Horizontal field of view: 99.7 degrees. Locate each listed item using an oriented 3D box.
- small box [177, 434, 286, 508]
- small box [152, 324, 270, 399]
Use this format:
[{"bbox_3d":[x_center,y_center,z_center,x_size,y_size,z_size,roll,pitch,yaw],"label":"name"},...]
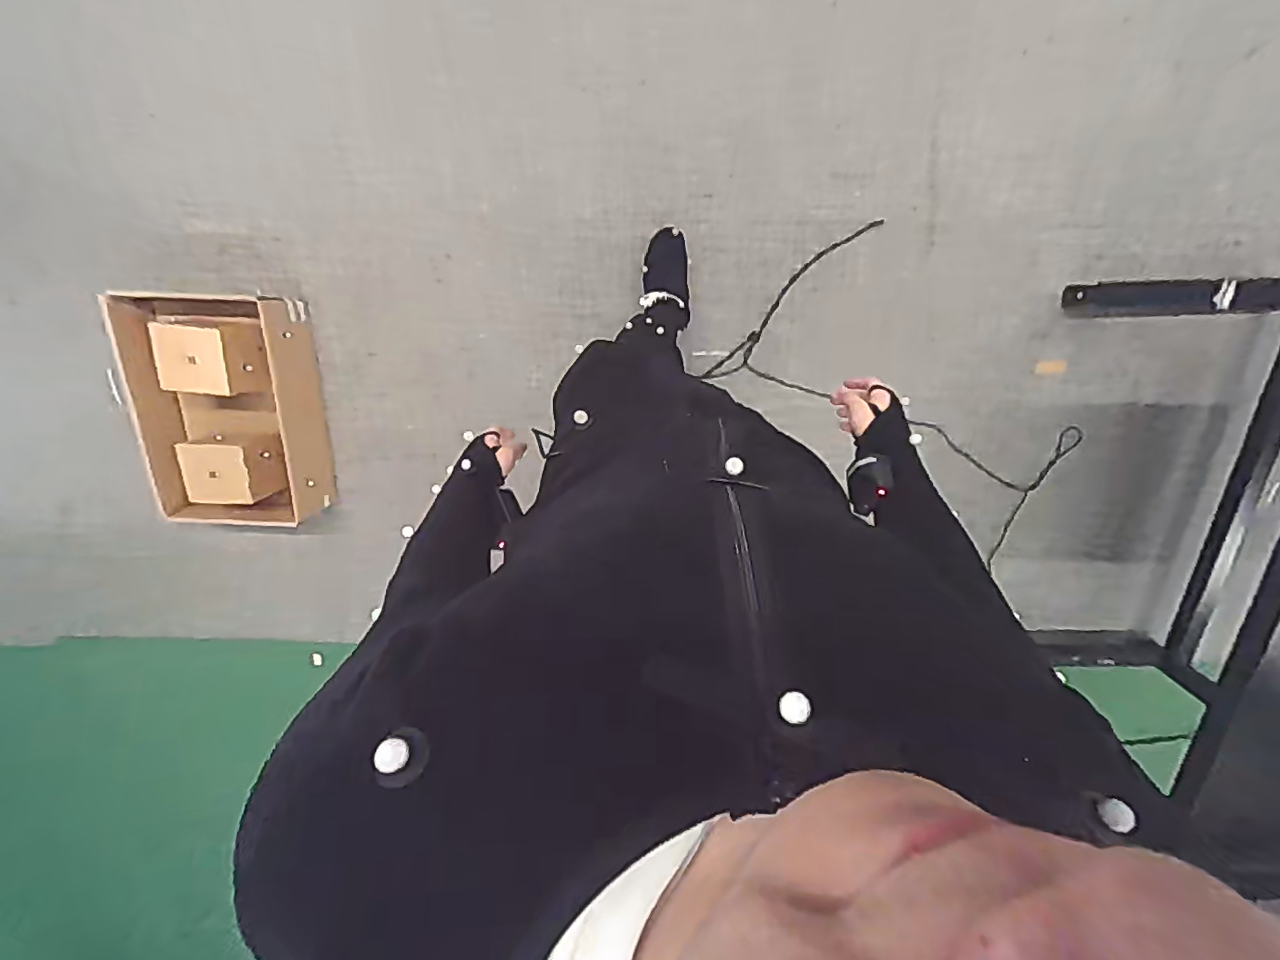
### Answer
[{"bbox_3d":[-1.126,-0.030,1.511,0.179,0.176,0.168,2,107,1],"label":"small box"},{"bbox_3d":[-1.108,-0.315,1.418,0.179,0.176,0.168,6,109,0],"label":"small box"}]
